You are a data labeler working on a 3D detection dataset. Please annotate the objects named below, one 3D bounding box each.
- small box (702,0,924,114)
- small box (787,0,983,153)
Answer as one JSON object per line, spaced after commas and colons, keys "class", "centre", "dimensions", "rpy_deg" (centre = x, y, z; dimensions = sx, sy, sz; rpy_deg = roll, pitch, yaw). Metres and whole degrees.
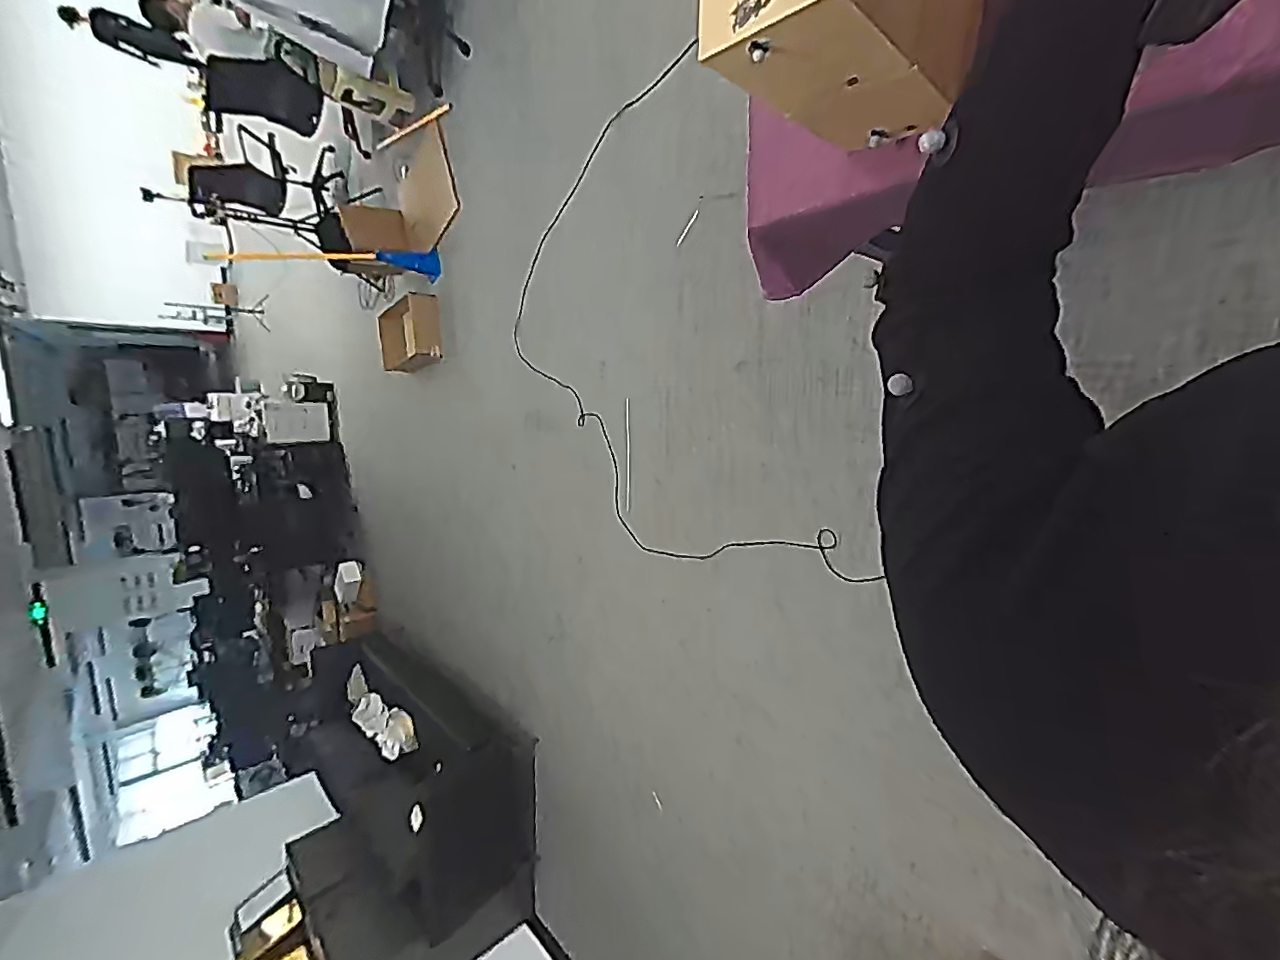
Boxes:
{"class": "small box", "centre": [0.188, -0.532, 0.570], "dimensions": [0.168, 0.176, 0.179], "rpy_deg": [15, 105, 47]}
{"class": "small box", "centre": [0.309, -0.548, 0.681], "dimensions": [0.168, 0.176, 0.179], "rpy_deg": [15, 107, 46]}
